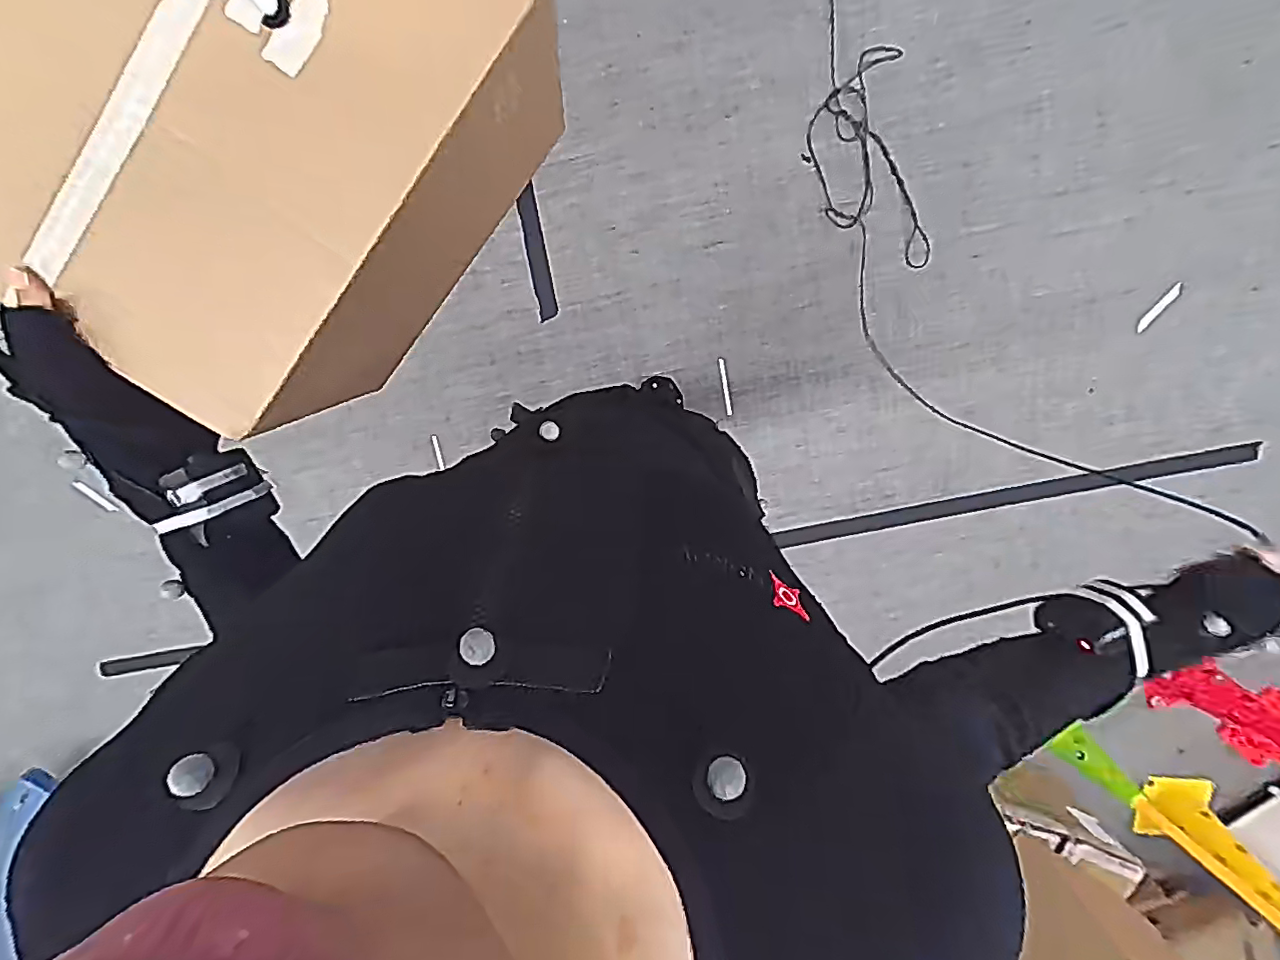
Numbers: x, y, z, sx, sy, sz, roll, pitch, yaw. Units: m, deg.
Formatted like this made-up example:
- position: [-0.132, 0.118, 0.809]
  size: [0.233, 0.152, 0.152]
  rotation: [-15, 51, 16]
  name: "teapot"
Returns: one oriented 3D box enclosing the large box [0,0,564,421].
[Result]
- position: [-0.313, -0.320, 0.502]
  size: [0.320, 0.320, 0.408]
  rotation: [37, 99, -15]
  name: "large box"
